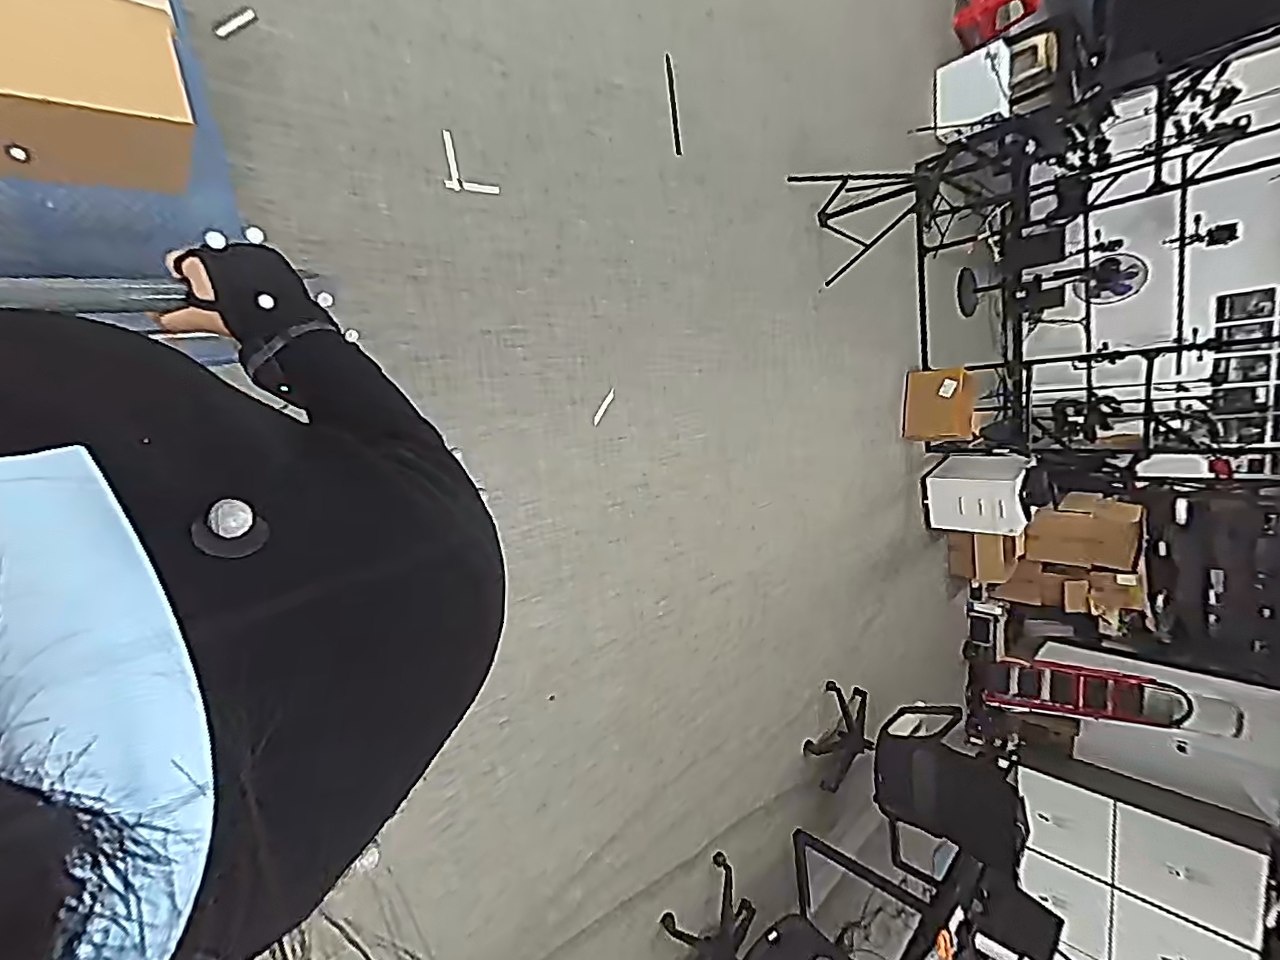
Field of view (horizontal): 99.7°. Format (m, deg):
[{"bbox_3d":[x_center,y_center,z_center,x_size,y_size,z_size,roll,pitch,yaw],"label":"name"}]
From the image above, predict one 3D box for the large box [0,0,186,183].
[{"bbox_3d":[-0.940,-0.650,0.759,0.408,0.320,0.320,-17,103,-40],"label":"large box"}]
